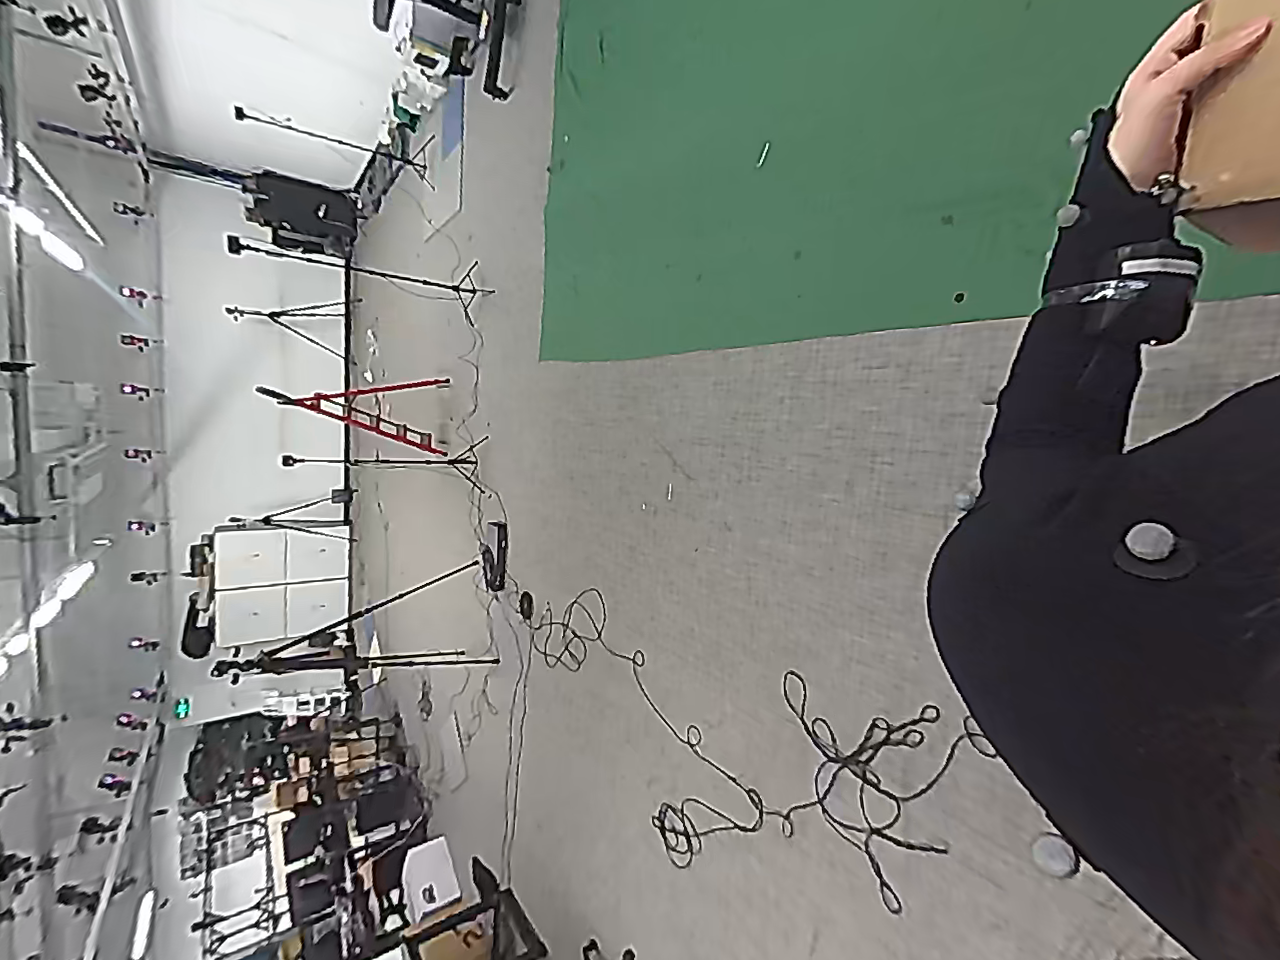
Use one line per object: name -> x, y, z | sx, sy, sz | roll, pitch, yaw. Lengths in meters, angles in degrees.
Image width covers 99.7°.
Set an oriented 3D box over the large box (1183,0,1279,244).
large box -> 0.634, -0.337, 0.291 | 0.408, 0.320, 0.320 | 16, 111, 54
